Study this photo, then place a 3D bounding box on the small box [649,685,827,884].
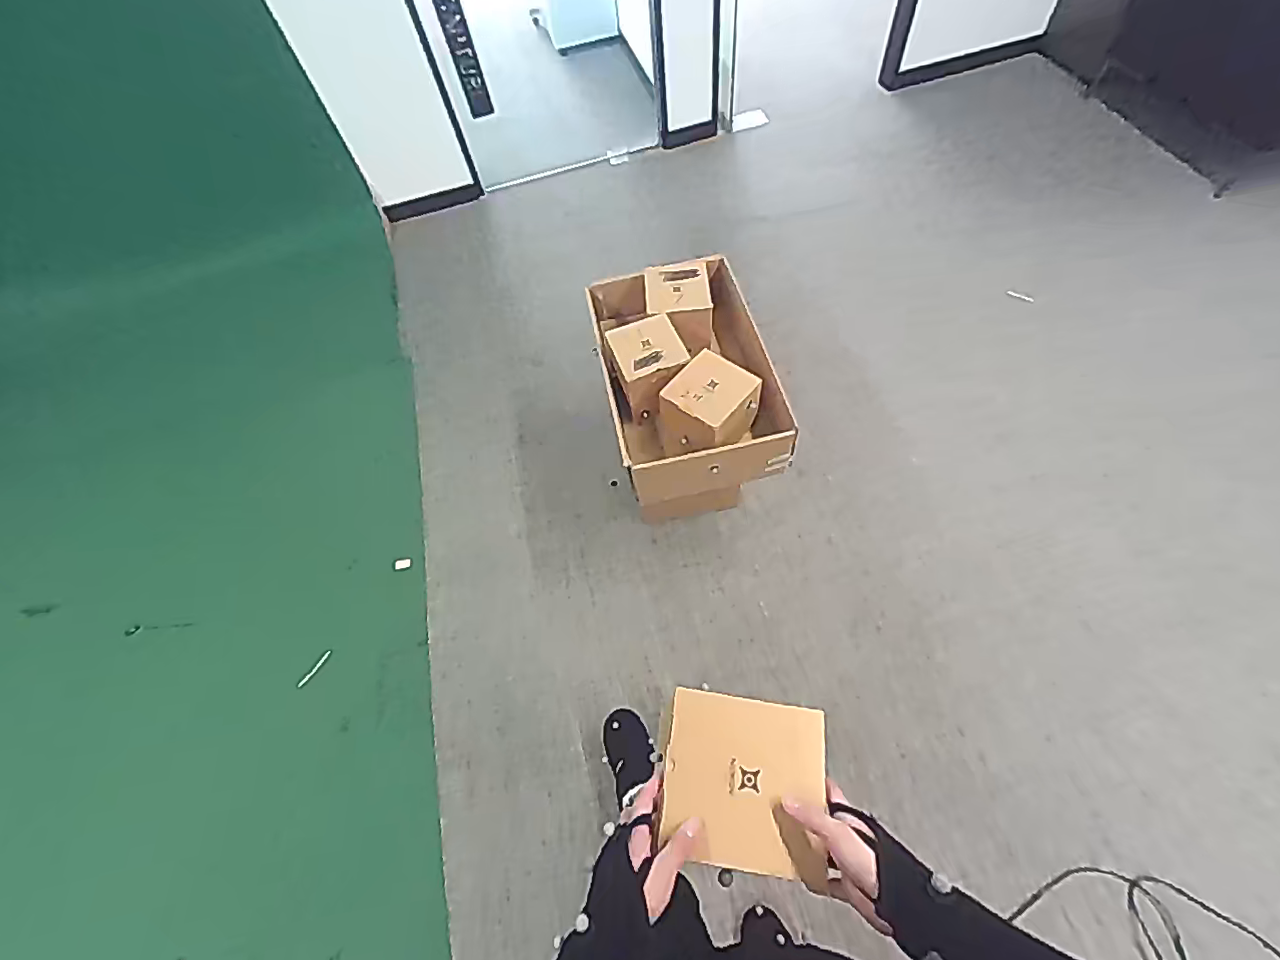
[{"bbox_3d":[0.109,0.356,0.646,0.179,0.176,0.168,8,60,3],"label":"small box"}]
